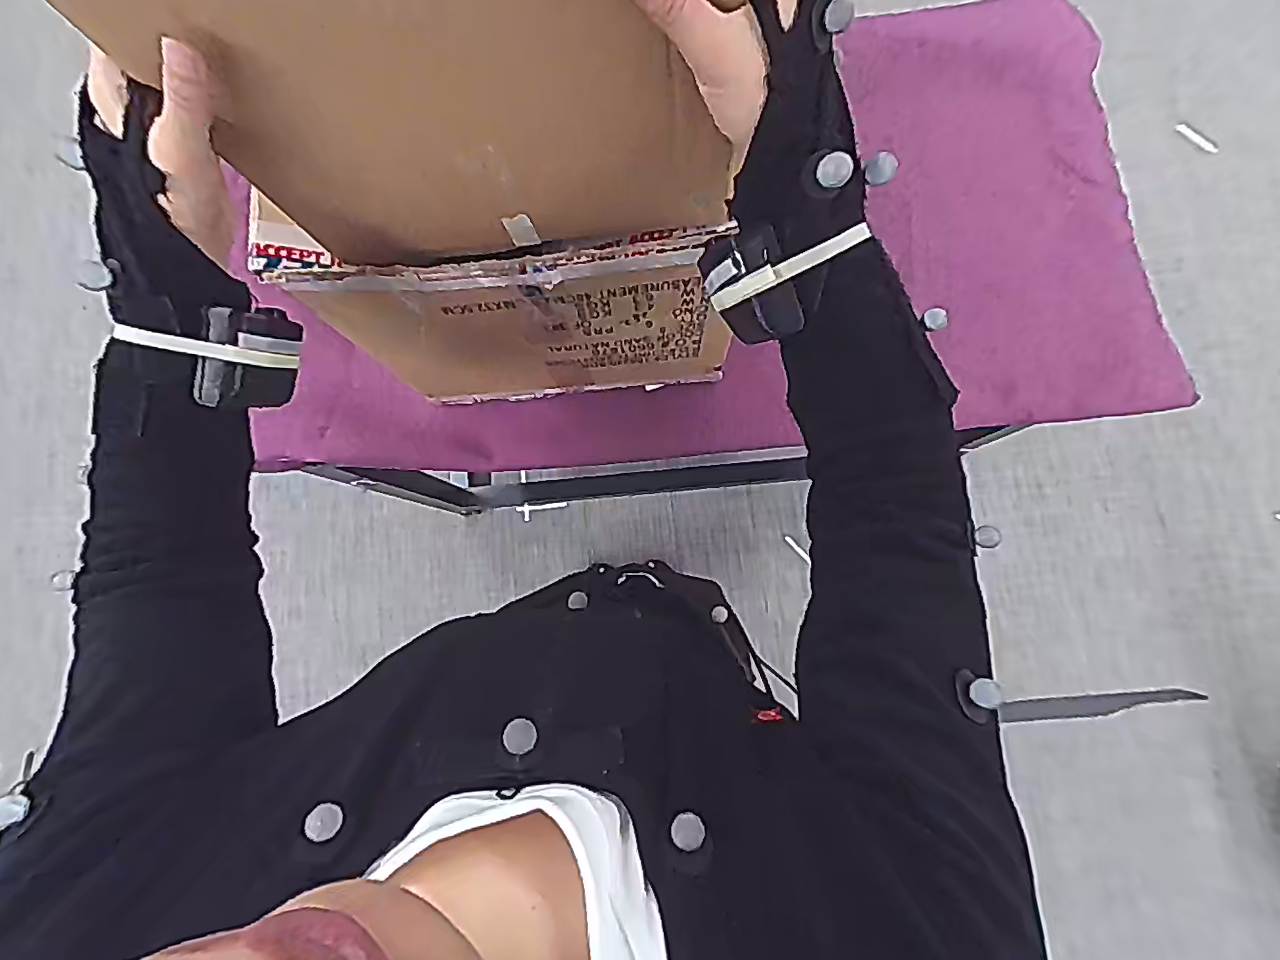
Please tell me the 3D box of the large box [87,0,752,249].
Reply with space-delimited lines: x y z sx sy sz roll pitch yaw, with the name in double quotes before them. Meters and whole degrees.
"large box" -0.110 -0.411 0.304 0.320 0.320 0.408 -5 81 5
